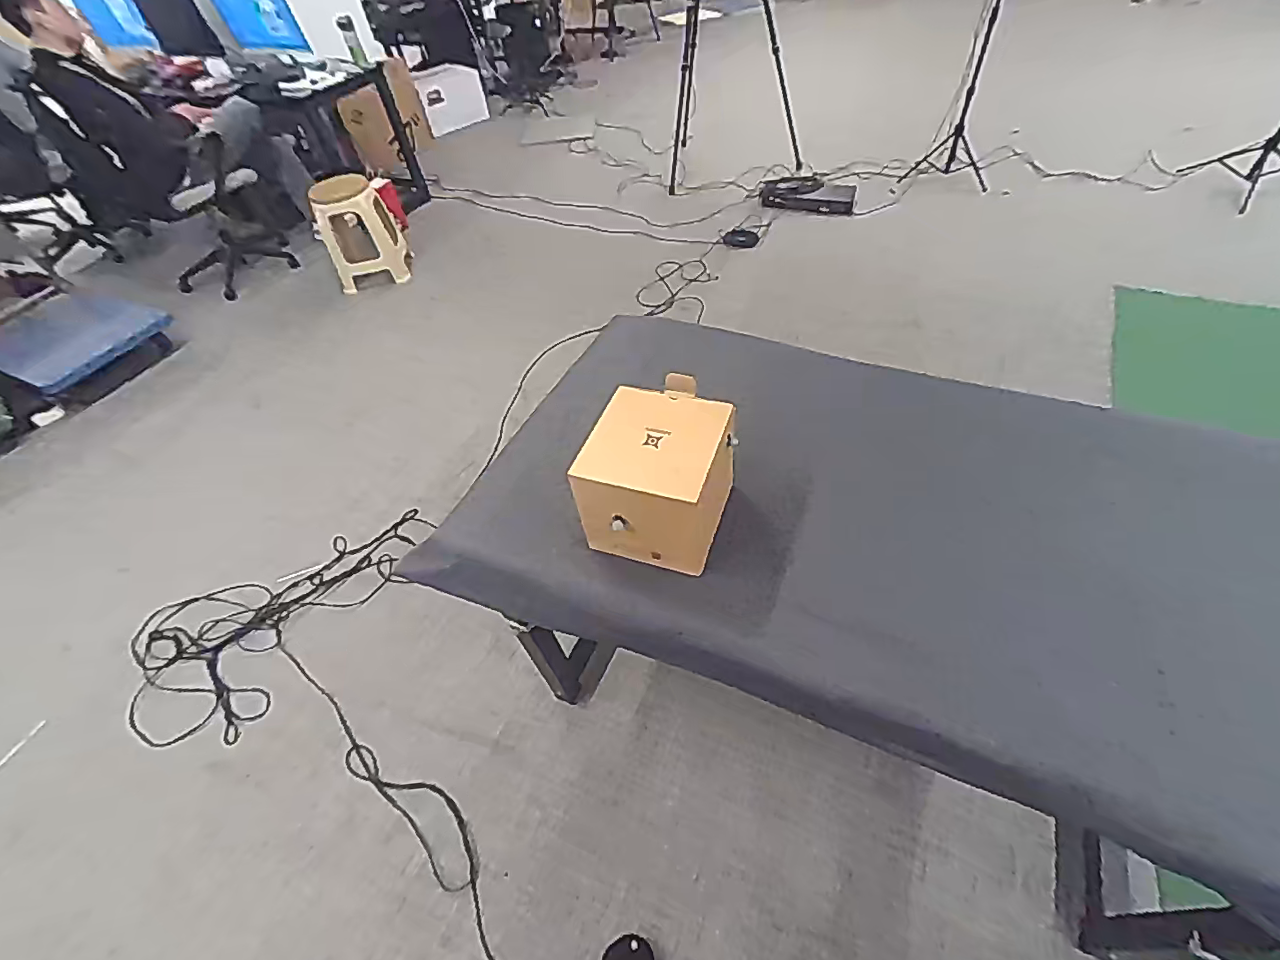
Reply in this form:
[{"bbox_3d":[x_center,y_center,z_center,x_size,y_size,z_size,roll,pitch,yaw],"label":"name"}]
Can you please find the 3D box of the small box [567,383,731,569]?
[{"bbox_3d":[0.024,-0.004,0.739,0.168,0.176,0.179,13,52,17],"label":"small box"}]
